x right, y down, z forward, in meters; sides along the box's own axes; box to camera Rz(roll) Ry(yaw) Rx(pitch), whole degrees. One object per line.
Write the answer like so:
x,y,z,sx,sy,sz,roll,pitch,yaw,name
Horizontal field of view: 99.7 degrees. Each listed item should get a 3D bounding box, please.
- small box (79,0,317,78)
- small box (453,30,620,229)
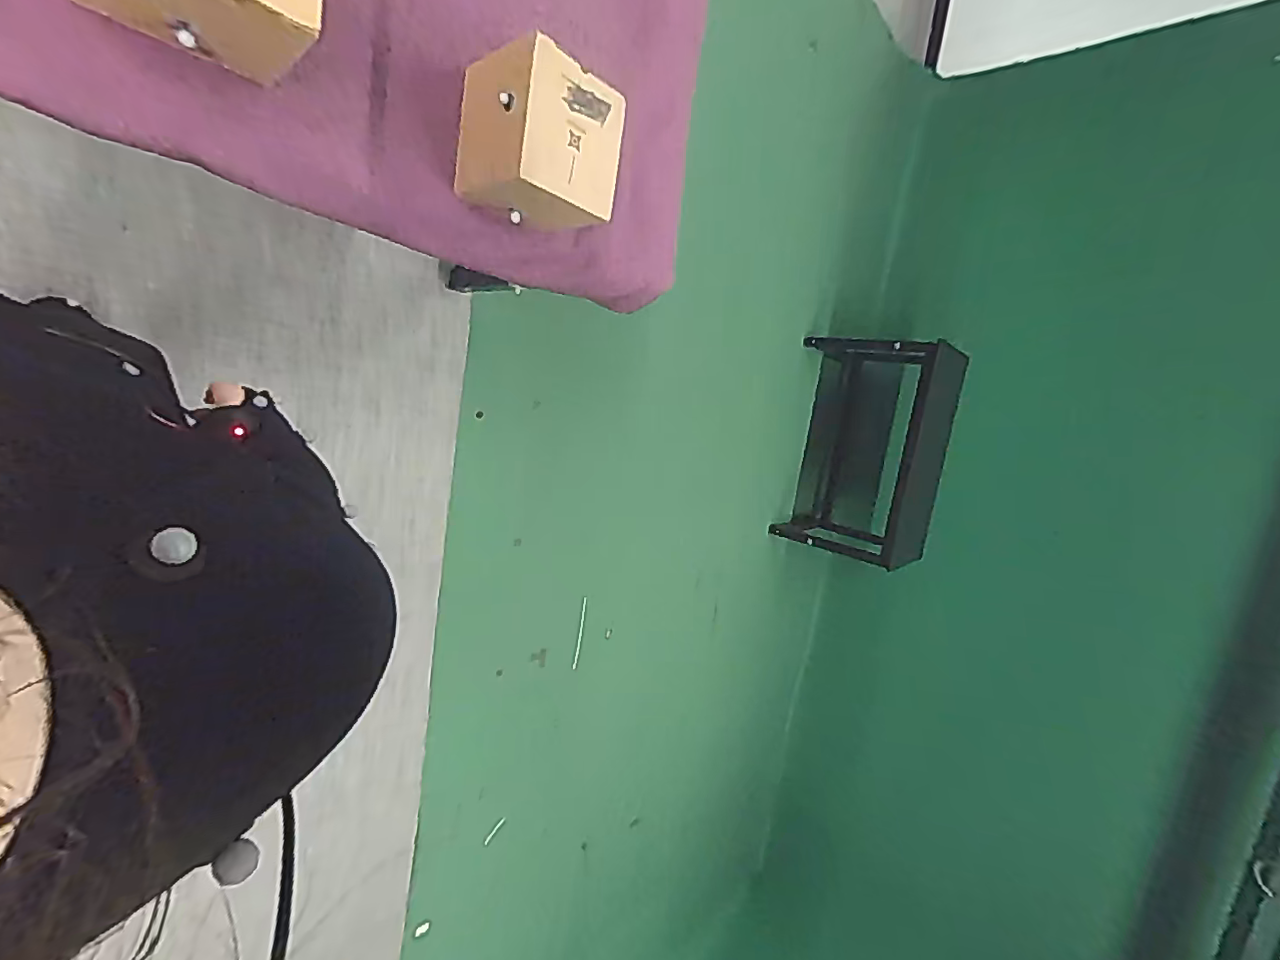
-0.407,-0.516,0.485,0.168,0.176,0.179,-2,102,-48,small box
-0.154,-0.488,0.788,0.168,0.176,0.179,0,102,-49,small box
